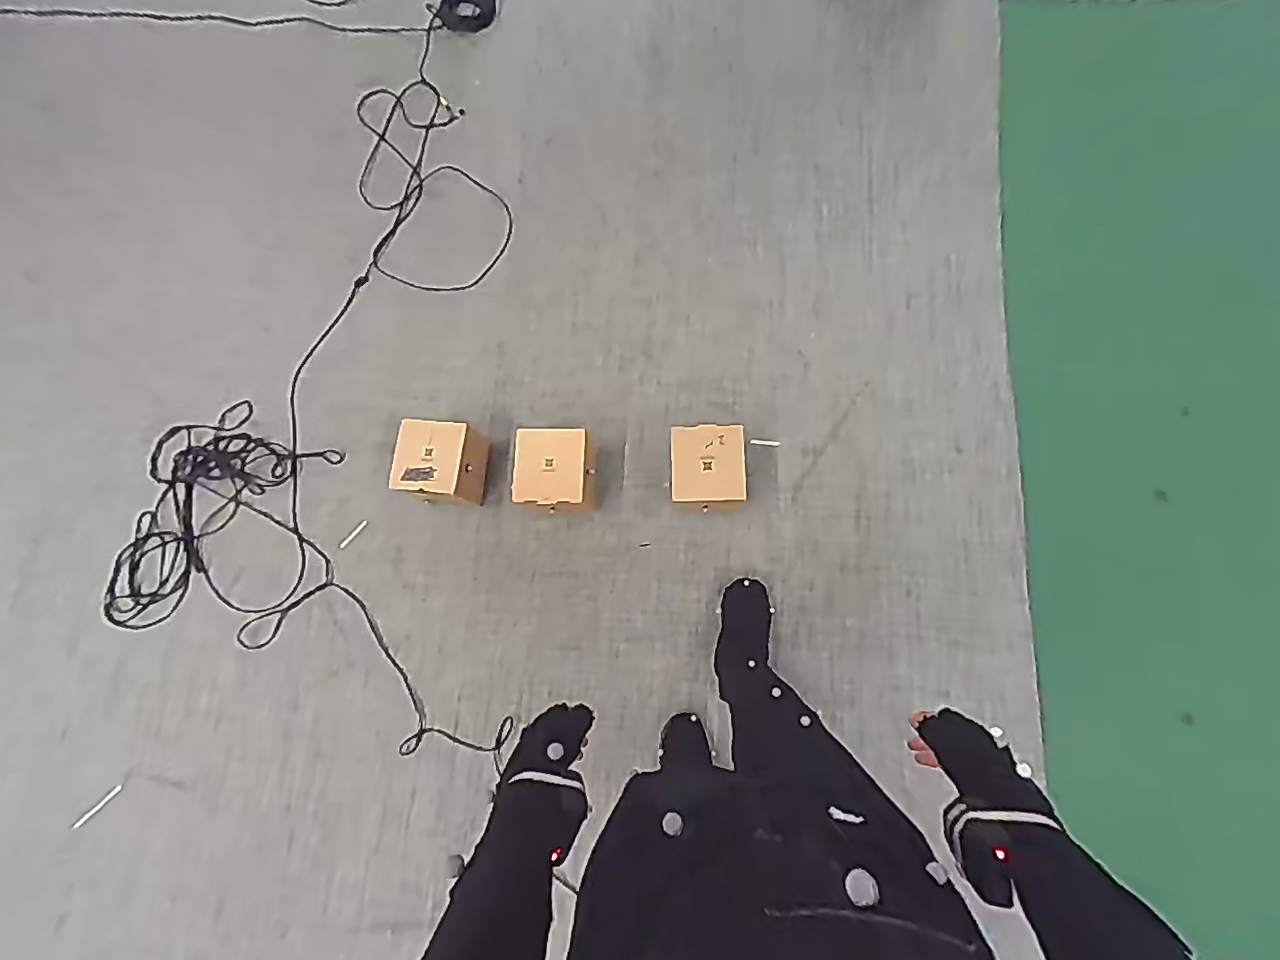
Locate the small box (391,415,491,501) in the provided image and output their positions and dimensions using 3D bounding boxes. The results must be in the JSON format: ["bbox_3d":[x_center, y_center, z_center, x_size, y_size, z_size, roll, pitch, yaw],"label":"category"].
[{"bbox_3d":[-0.490,-0.049,1.357,0.168,0.176,0.179,6,78,6],"label":"small box"}]

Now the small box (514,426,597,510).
[{"bbox_3d":[-0.202,-0.026,1.330,0.168,0.176,0.179,0,80,5],"label":"small box"}]

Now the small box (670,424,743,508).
[{"bbox_3d":[0.157,-0.027,1.299,0.168,0.176,0.179,-1,79,4],"label":"small box"}]
